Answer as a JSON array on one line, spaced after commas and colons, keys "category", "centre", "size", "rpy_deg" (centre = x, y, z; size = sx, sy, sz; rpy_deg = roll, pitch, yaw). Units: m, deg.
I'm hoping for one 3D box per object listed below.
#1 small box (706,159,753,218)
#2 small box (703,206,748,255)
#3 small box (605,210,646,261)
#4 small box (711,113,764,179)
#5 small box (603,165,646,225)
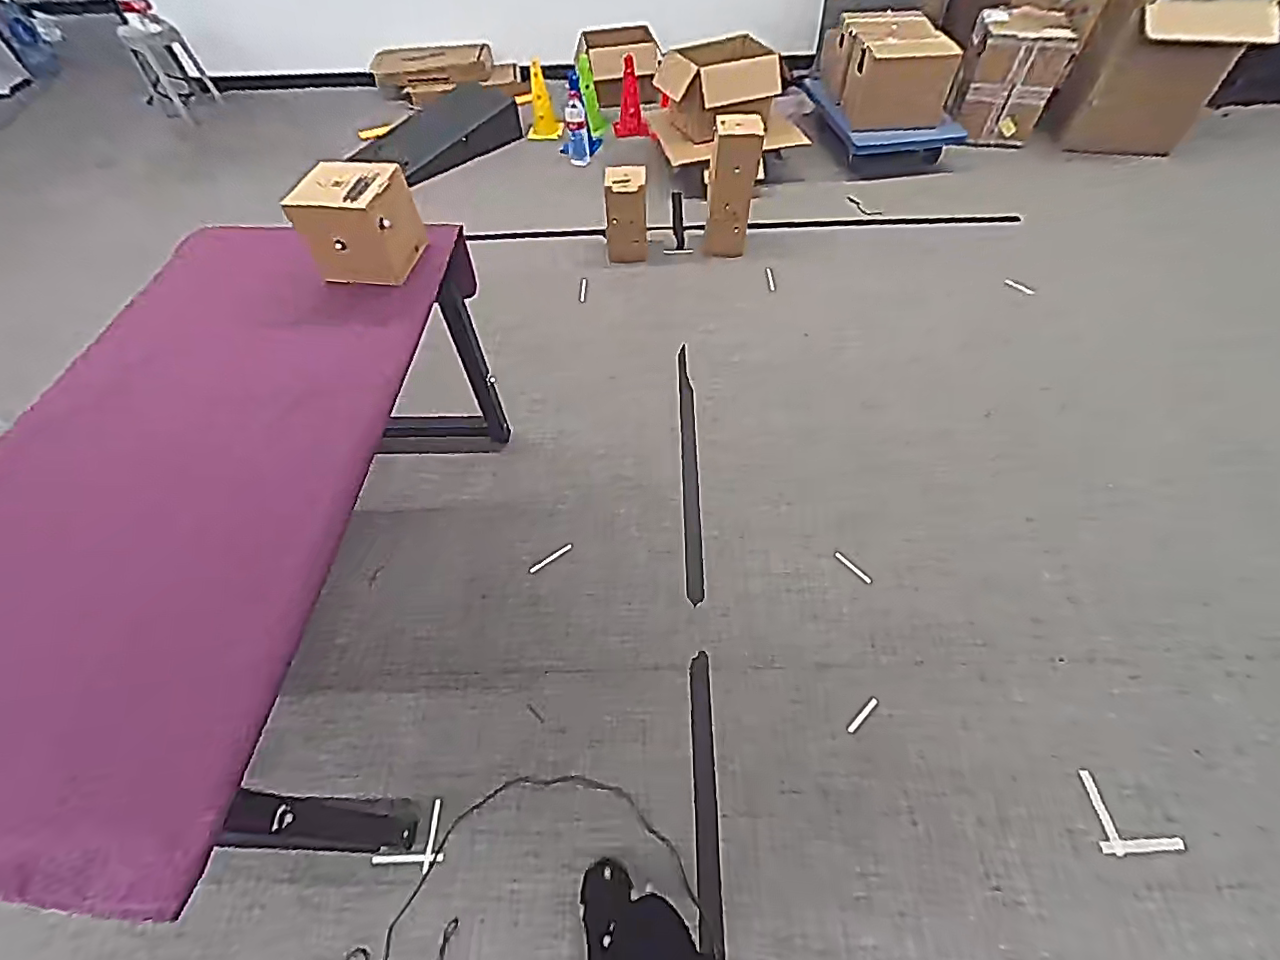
[{"category": "small box", "centre": [0.371, -1.221, 2.263], "size": [0.168, 0.176, 0.179], "rpy_deg": [0, 56, 0]}, {"category": "small box", "centre": [0.374, -1.117, 2.389], "size": [0.179, 0.176, 0.168], "rpy_deg": [3, 55, 3]}, {"category": "small box", "centre": [-0.062, -1.086, 2.381], "size": [0.179, 0.176, 0.168], "rpy_deg": [-4, 54, 1]}, {"category": "small box", "centre": [0.379, -1.308, 2.124], "size": [0.179, 0.176, 0.168], "rpy_deg": [2, 56, 1]}, {"category": "small box", "centre": [-0.060, -1.181, 2.247], "size": [0.168, 0.176, 0.179], "rpy_deg": [-1, 53, 1]}]
